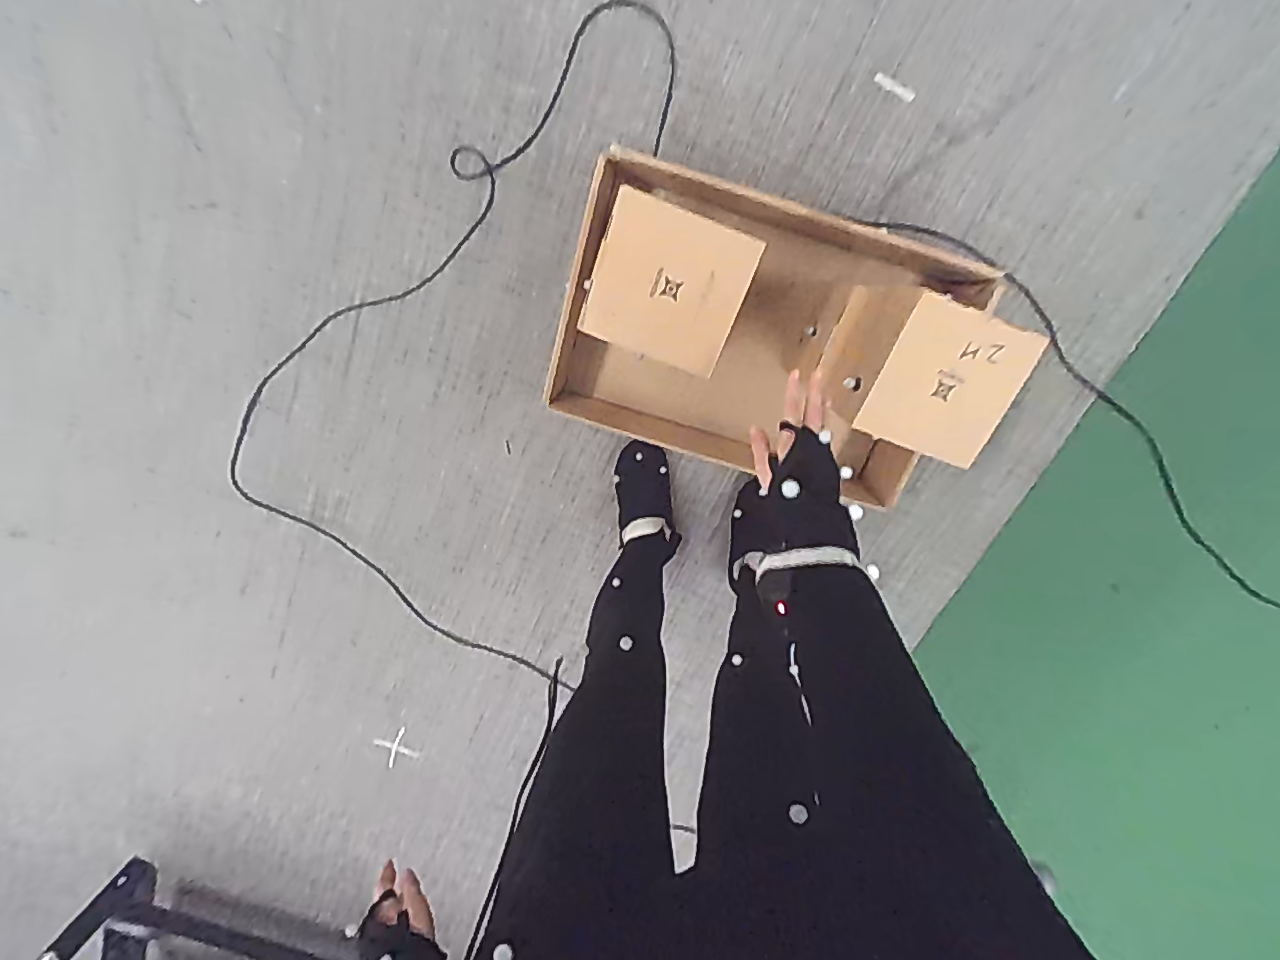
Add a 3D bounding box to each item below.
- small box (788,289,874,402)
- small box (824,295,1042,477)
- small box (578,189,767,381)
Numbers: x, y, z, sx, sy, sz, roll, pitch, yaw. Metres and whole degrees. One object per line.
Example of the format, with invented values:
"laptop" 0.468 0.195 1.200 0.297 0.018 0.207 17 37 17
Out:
"small box" 0.363 -0.196 0.879 0.179 0.176 0.168 21 110 -4
"small box" 0.369 -0.133 0.726 0.168 0.176 0.179 21 109 -6
"small box" 0.039 -0.248 0.702 0.179 0.176 0.168 21 111 -5
